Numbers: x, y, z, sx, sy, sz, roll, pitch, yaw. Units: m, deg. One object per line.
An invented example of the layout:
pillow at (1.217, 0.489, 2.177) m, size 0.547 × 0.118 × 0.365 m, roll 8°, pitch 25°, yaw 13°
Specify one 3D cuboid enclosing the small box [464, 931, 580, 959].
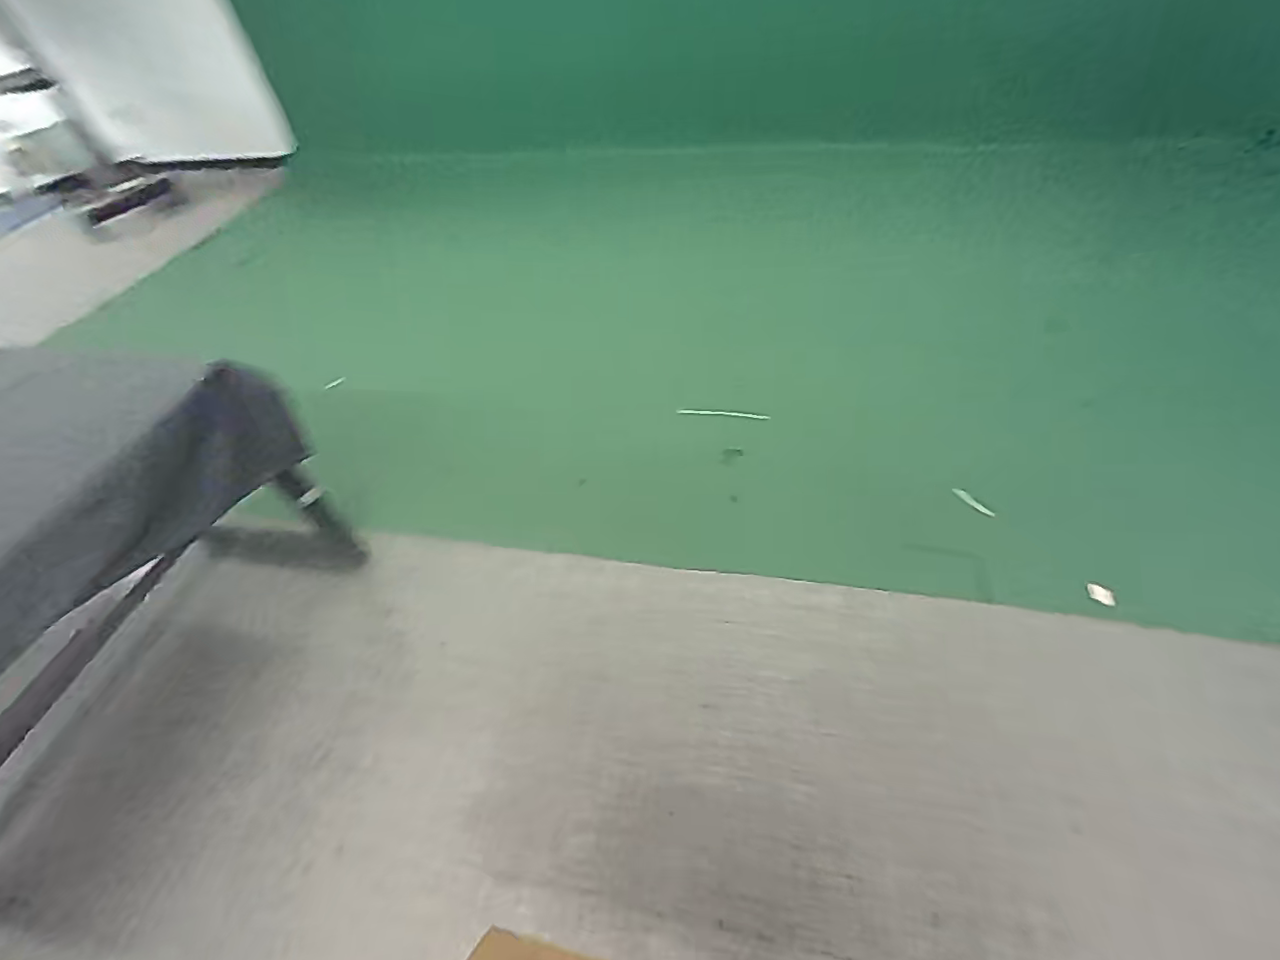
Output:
small box at (-0.142, 0.637, 0.567) m, size 0.168 × 0.179 × 0.176 m, roll 9°, pitch 77°, yaw 10°
